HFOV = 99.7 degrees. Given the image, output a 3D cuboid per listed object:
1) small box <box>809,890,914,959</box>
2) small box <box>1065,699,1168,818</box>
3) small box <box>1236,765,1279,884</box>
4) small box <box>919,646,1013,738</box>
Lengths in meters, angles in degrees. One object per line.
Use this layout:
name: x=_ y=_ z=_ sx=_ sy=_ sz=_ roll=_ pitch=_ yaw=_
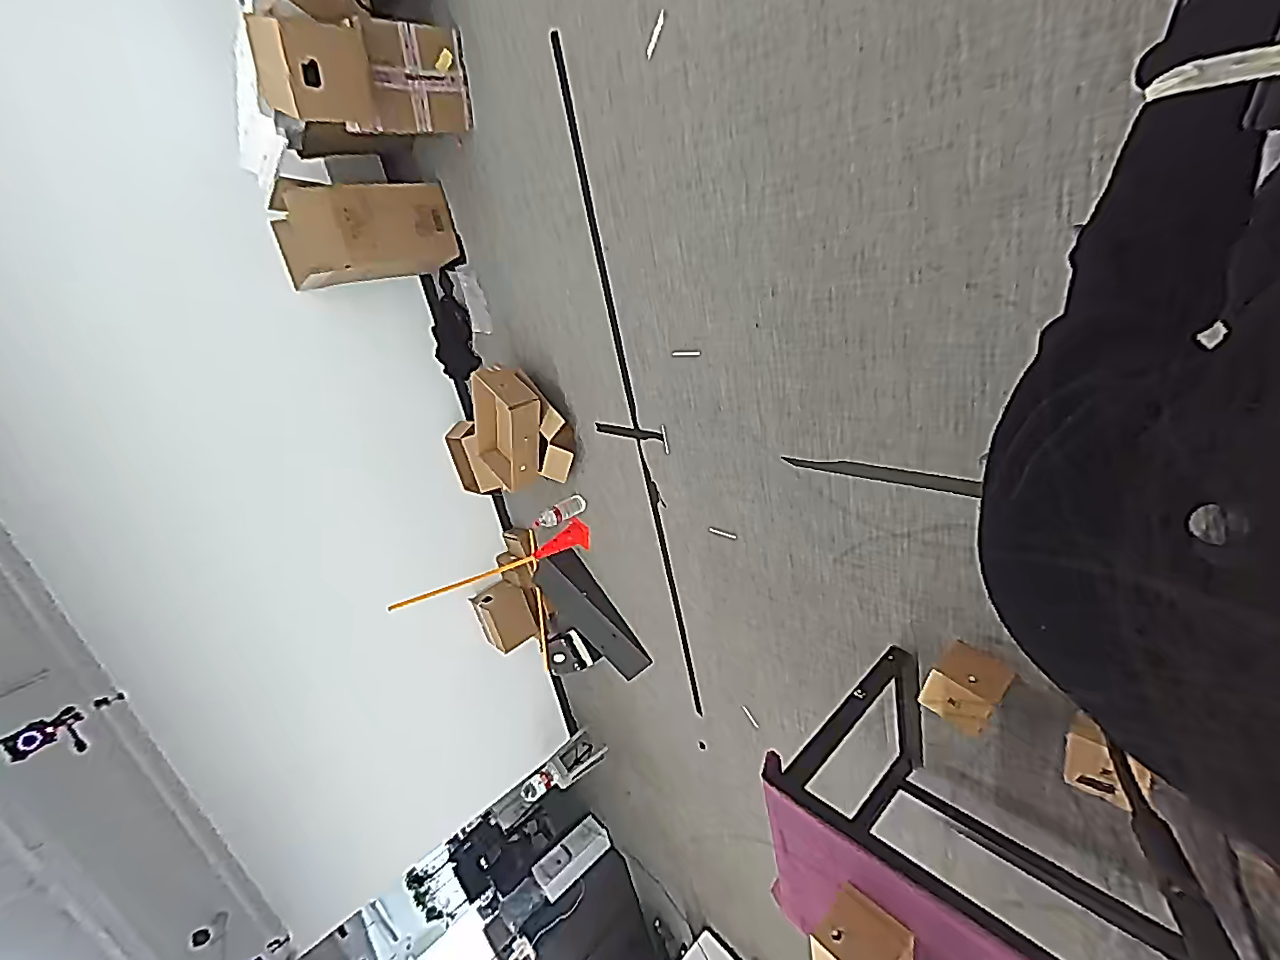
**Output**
small box: x=0.537 y=1.152 z=1.313 sx=0.179 sy=0.176 sz=0.168 roll=16 pitch=125 yaw=47
small box: x=1.231 y=0.711 z=1.398 sx=0.168 sy=0.176 sz=0.179 roll=13 pitch=121 yaw=49
small box: x=1.435 y=0.767 z=1.163 sx=0.168 sy=0.176 sz=0.179 roll=16 pitch=126 yaw=48
small box: x=1.001 y=0.639 z=1.662 sx=0.179 sy=0.176 sz=0.168 roll=31 pitch=134 yaw=37
